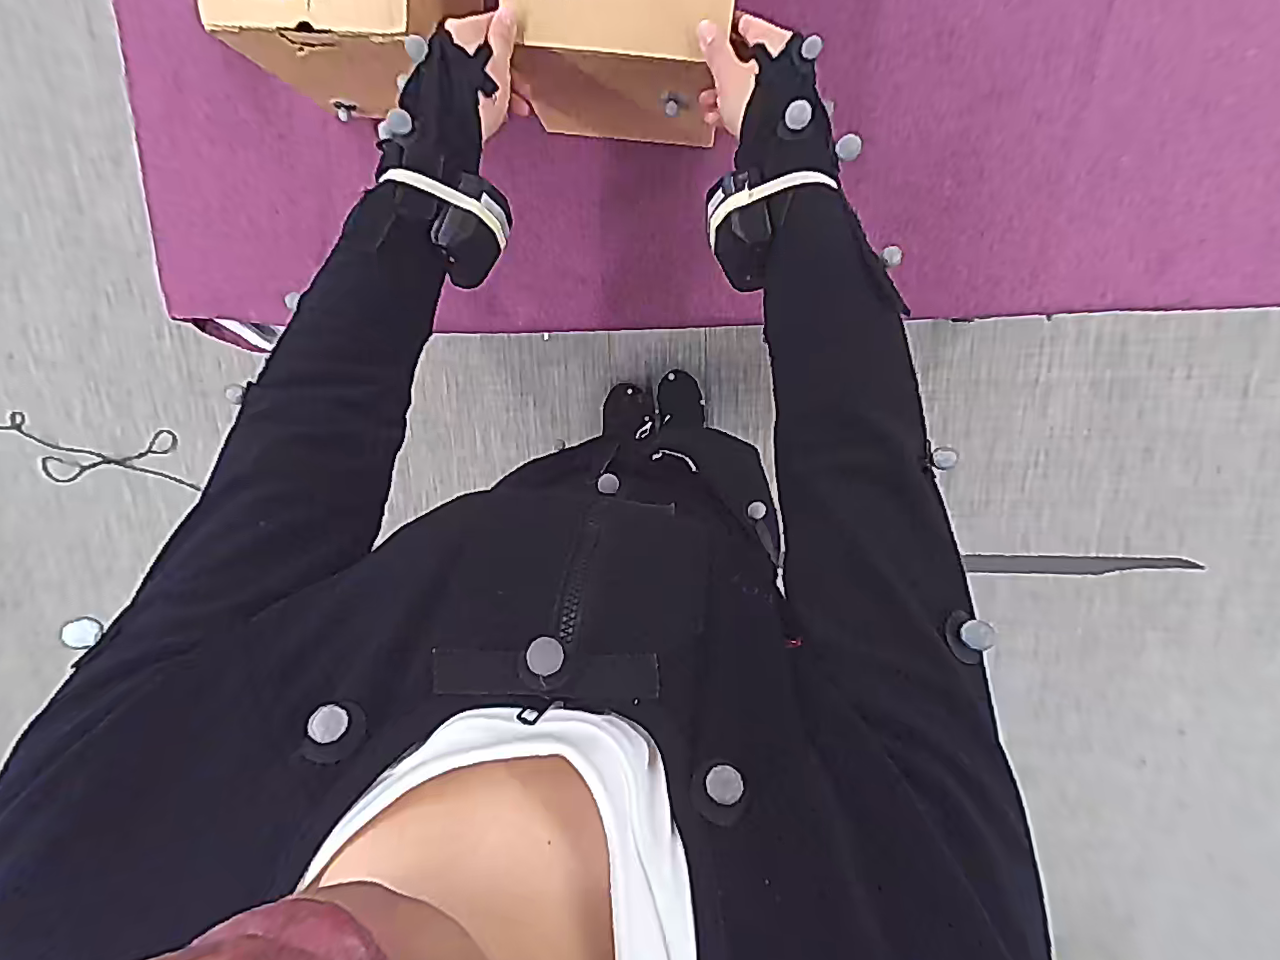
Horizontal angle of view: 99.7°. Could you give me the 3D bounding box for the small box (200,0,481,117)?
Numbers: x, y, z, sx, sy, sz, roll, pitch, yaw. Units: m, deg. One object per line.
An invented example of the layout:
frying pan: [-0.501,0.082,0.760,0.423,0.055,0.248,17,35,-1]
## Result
small box: [-0.244,-0.446,0.469,0.168,0.176,0.179,5,103,2]
